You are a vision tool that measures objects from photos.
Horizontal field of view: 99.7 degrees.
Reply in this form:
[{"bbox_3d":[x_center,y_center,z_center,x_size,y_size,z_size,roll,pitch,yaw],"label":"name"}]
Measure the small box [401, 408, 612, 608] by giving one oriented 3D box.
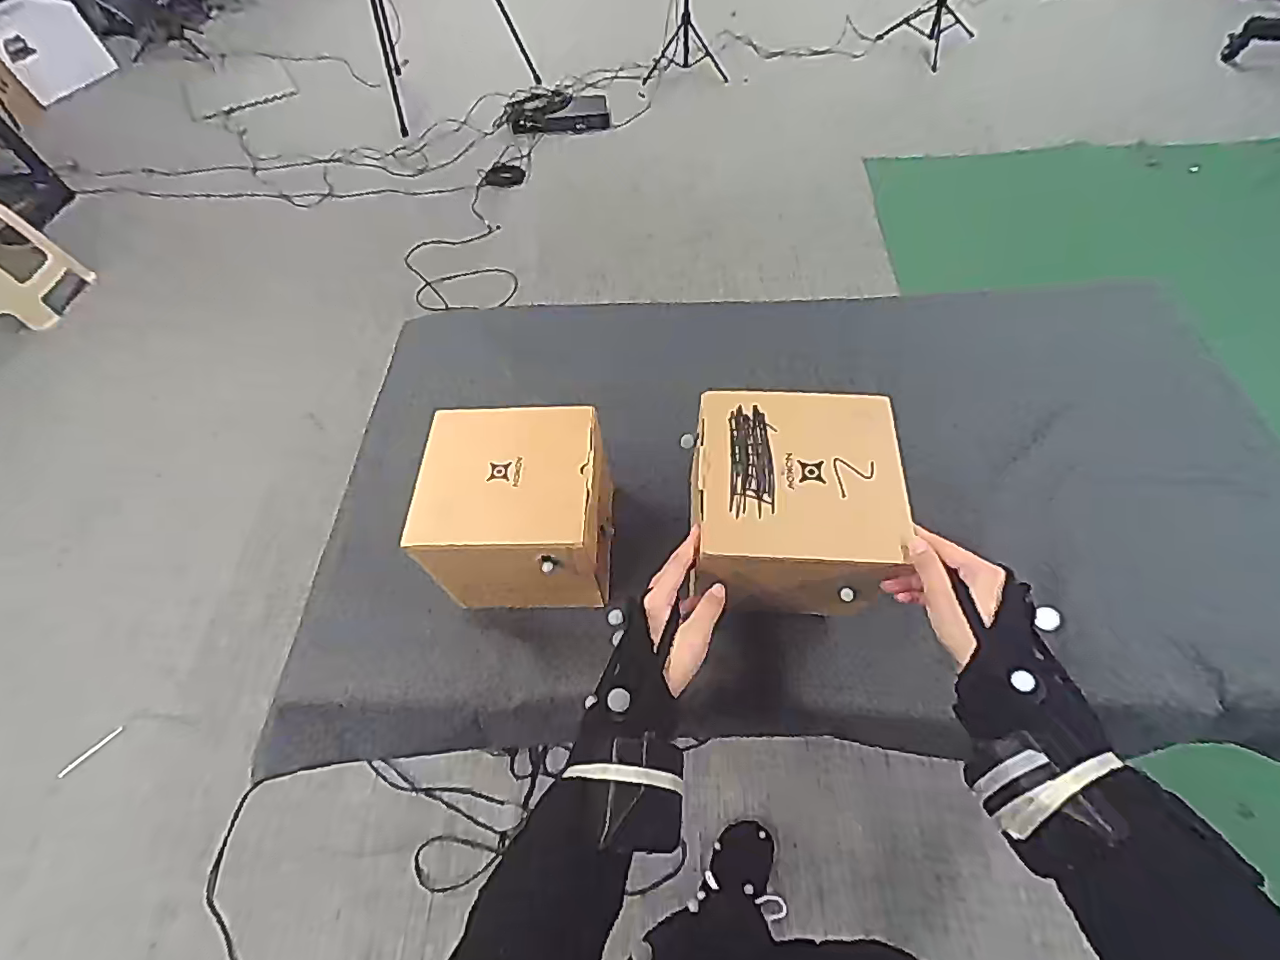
[{"bbox_3d":[-0.130,0.038,0.604,0.179,0.176,0.168,-1,57,3],"label":"small box"}]
